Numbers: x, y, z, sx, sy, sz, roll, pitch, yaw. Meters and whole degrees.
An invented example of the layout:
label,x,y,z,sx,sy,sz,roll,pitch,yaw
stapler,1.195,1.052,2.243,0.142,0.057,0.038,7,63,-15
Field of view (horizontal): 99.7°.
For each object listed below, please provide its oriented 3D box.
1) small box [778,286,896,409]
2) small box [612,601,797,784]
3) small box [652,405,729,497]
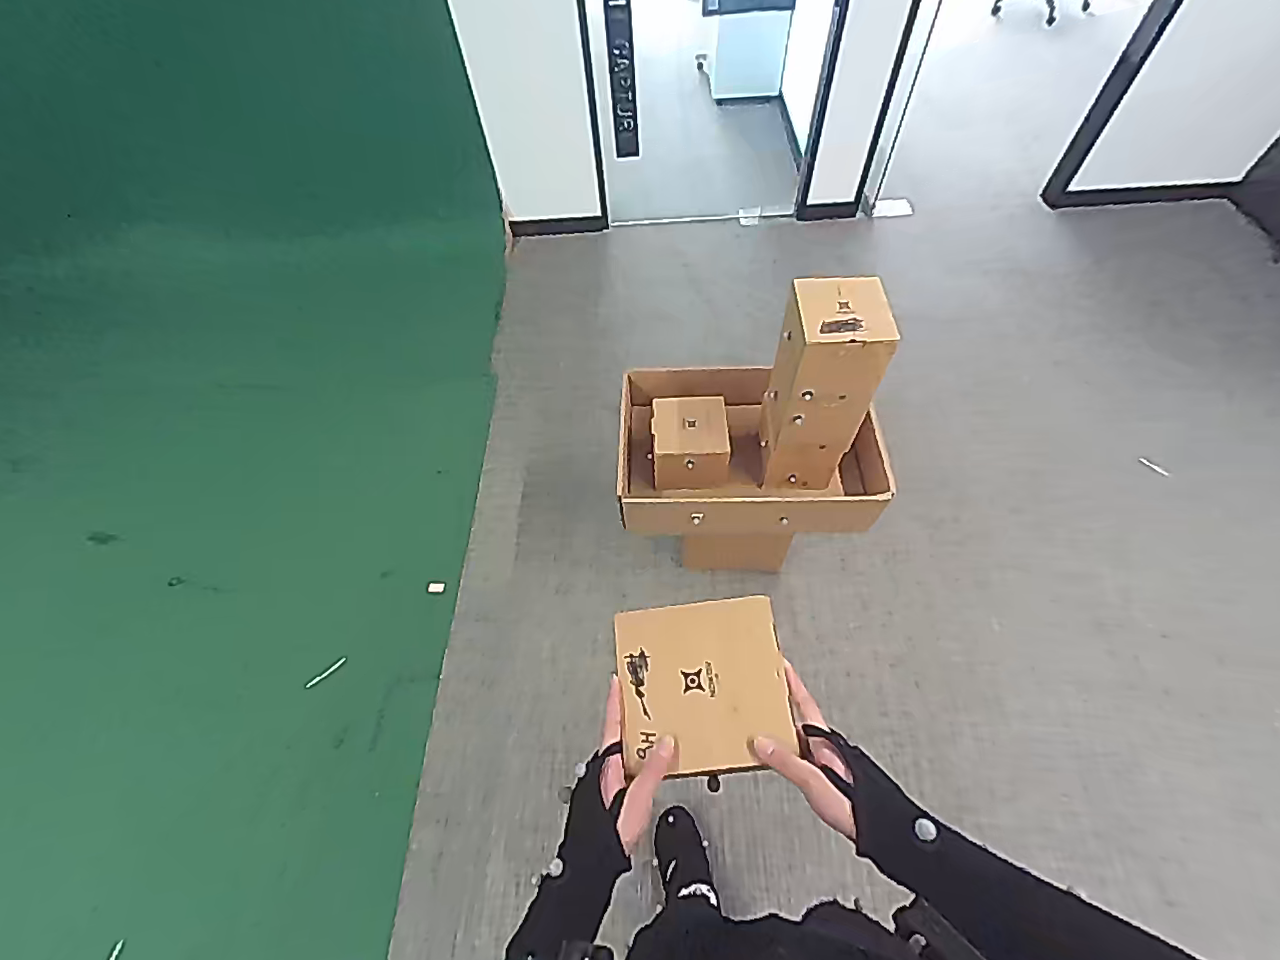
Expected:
label,x,y,z,sx,sy,sz,roll,pitch,yaw
small box,0.371,-0.253,1.054,0.168,0.176,0.179,0,56,2
small box,0.066,0.251,0.625,0.179,0.176,0.168,-6,58,2
small box,0.119,-0.068,1.338,0.179,0.176,0.168,0,57,1
